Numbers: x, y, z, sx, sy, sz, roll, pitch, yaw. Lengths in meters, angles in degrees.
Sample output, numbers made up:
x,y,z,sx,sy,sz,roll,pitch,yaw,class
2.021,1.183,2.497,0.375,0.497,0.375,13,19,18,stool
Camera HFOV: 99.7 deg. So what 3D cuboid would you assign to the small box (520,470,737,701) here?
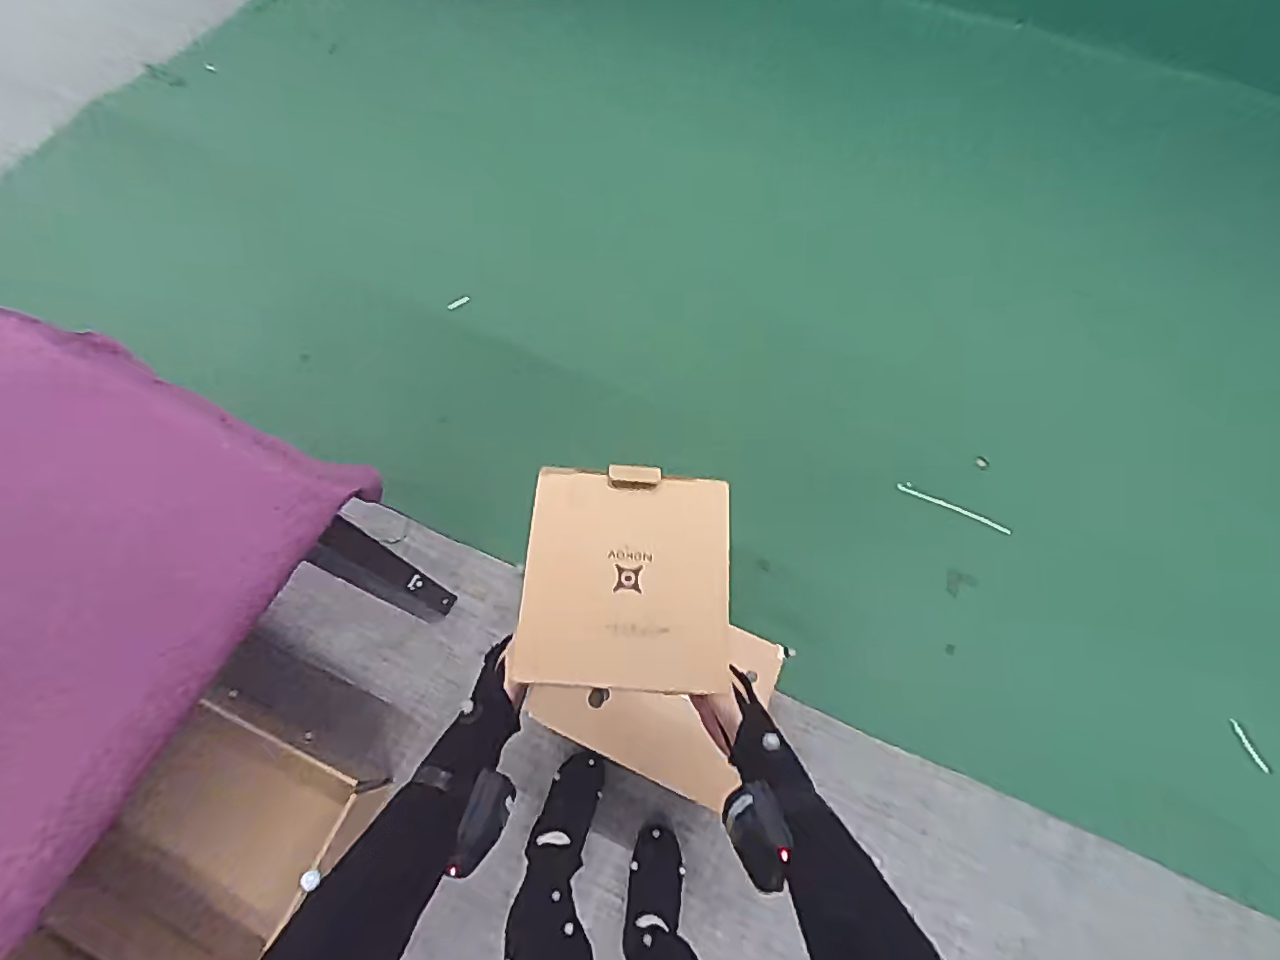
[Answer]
x,y,z,sx,sy,sz,roll,pitch,yaw,class
-0.009,0.109,0.513,0.168,0.176,0.179,6,68,-2,small box
